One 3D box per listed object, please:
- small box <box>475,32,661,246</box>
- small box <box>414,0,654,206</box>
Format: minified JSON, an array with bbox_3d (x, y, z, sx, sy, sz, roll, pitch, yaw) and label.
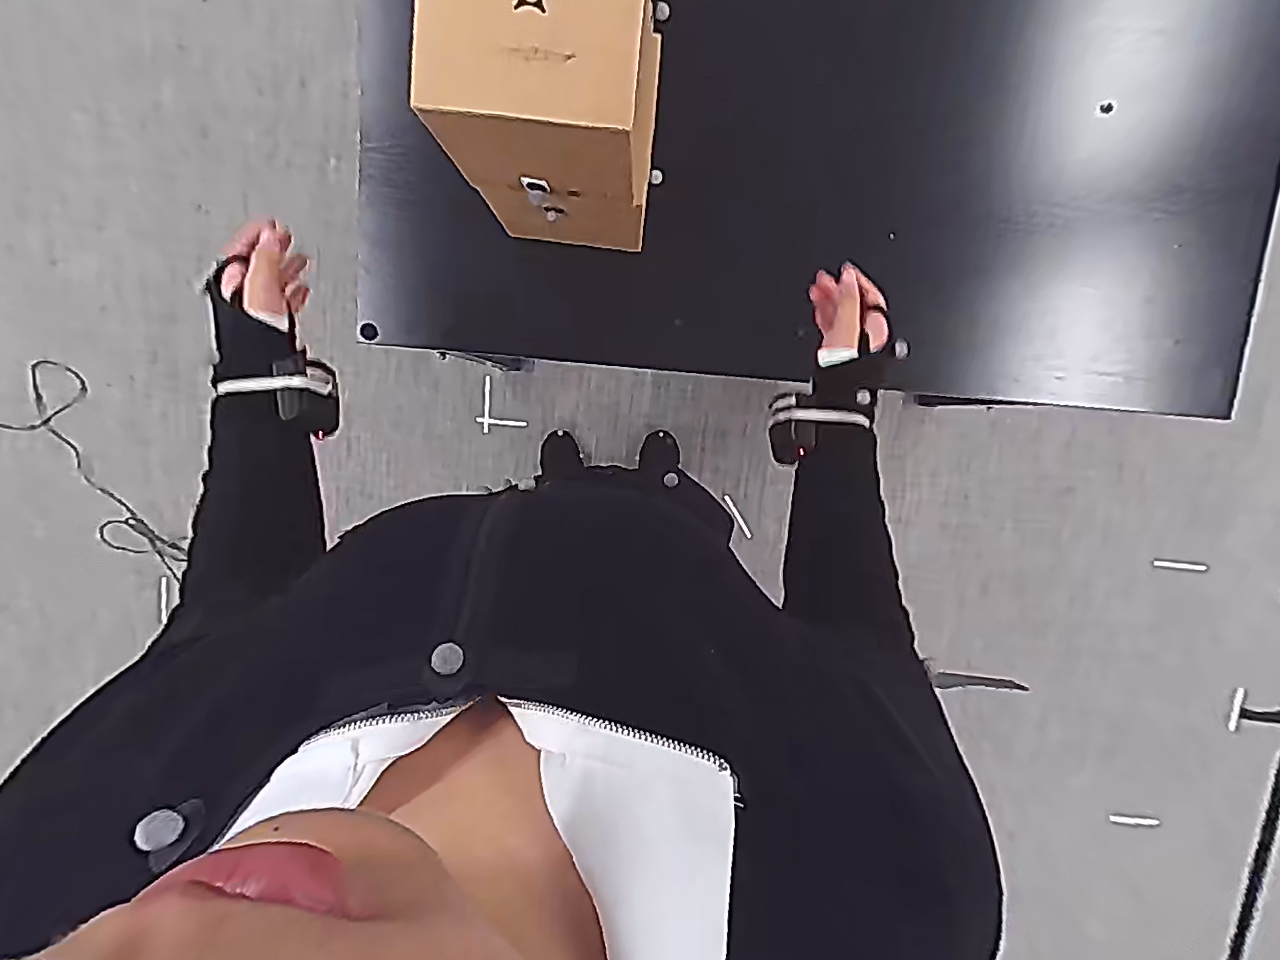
[{"bbox_3d":[-0.076,-0.387,0.627,0.179,0.176,0.168,6,97,-3],"label":"small box"},{"bbox_3d":[-0.076,-0.365,0.466,0.168,0.176,0.179,6,98,0],"label":"small box"}]
